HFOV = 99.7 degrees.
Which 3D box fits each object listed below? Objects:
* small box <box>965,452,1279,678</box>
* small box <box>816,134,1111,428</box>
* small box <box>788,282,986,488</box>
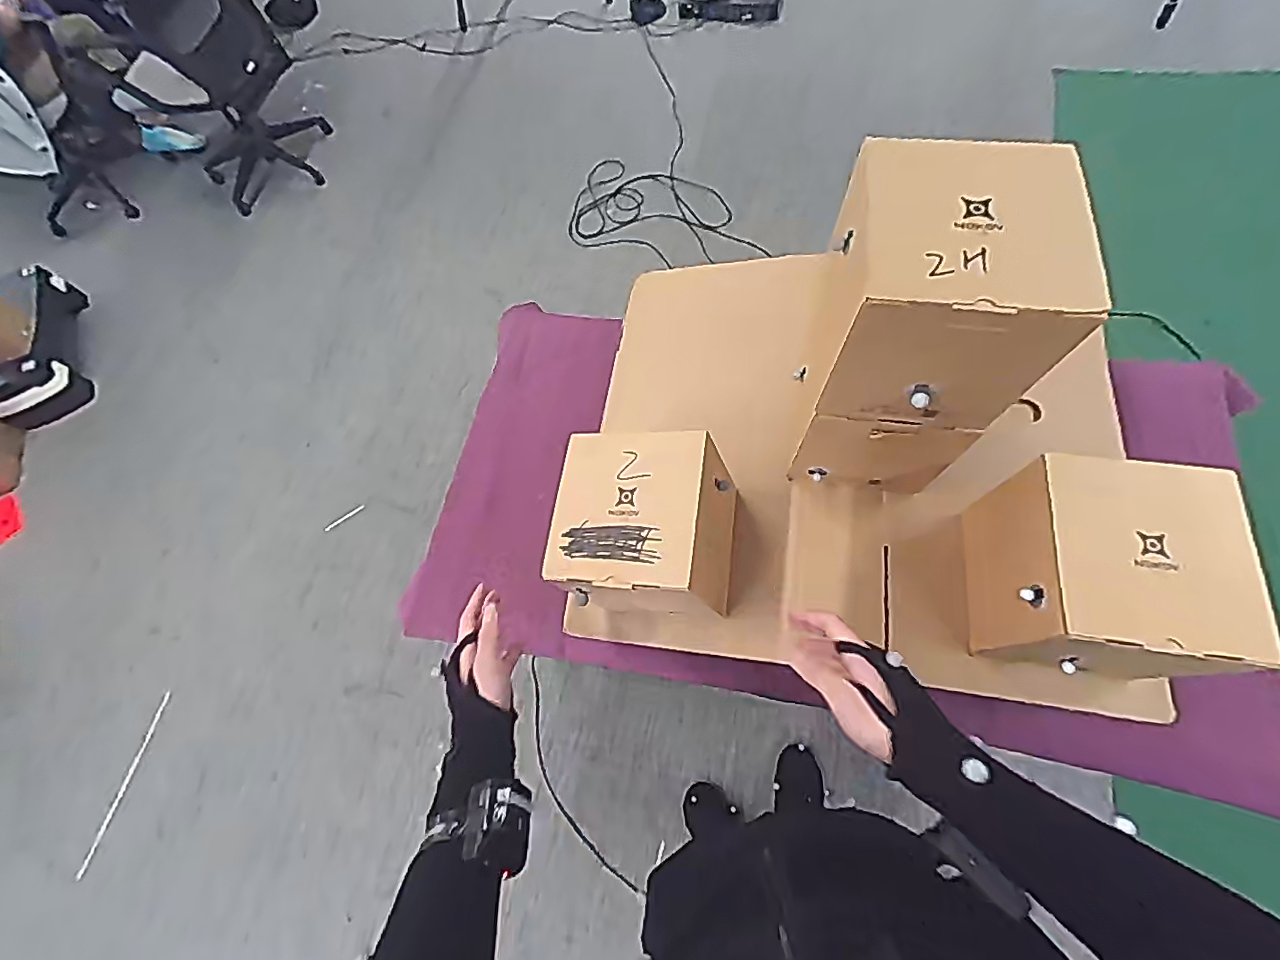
[{"bbox_3d":[0.451,0.093,0.542,0.168,0.176,0.179,7,69,7],"label":"small box"},{"bbox_3d":[0.262,-0.169,0.485,0.168,0.176,0.179,7,69,7],"label":"small box"},{"bbox_3d":[0.274,-0.103,0.635,0.168,0.176,0.179,7,68,7],"label":"small box"}]
